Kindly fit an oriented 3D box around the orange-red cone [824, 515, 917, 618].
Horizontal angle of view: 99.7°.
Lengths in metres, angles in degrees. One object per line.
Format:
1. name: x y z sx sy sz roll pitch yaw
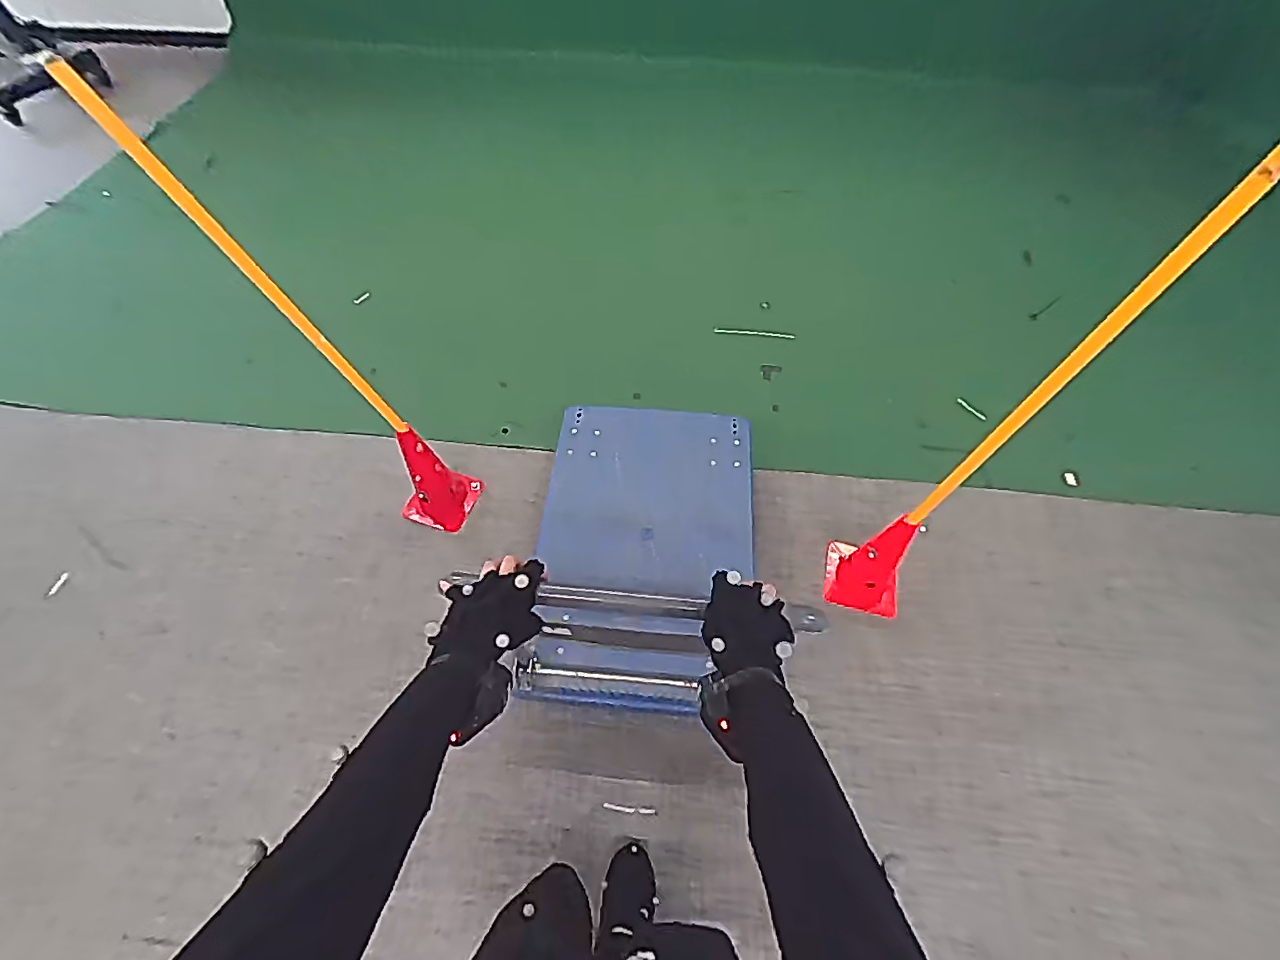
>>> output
1. orange-red cone: 0.640 0.196 1.425 0.198 0.360 0.199 14 58 10
